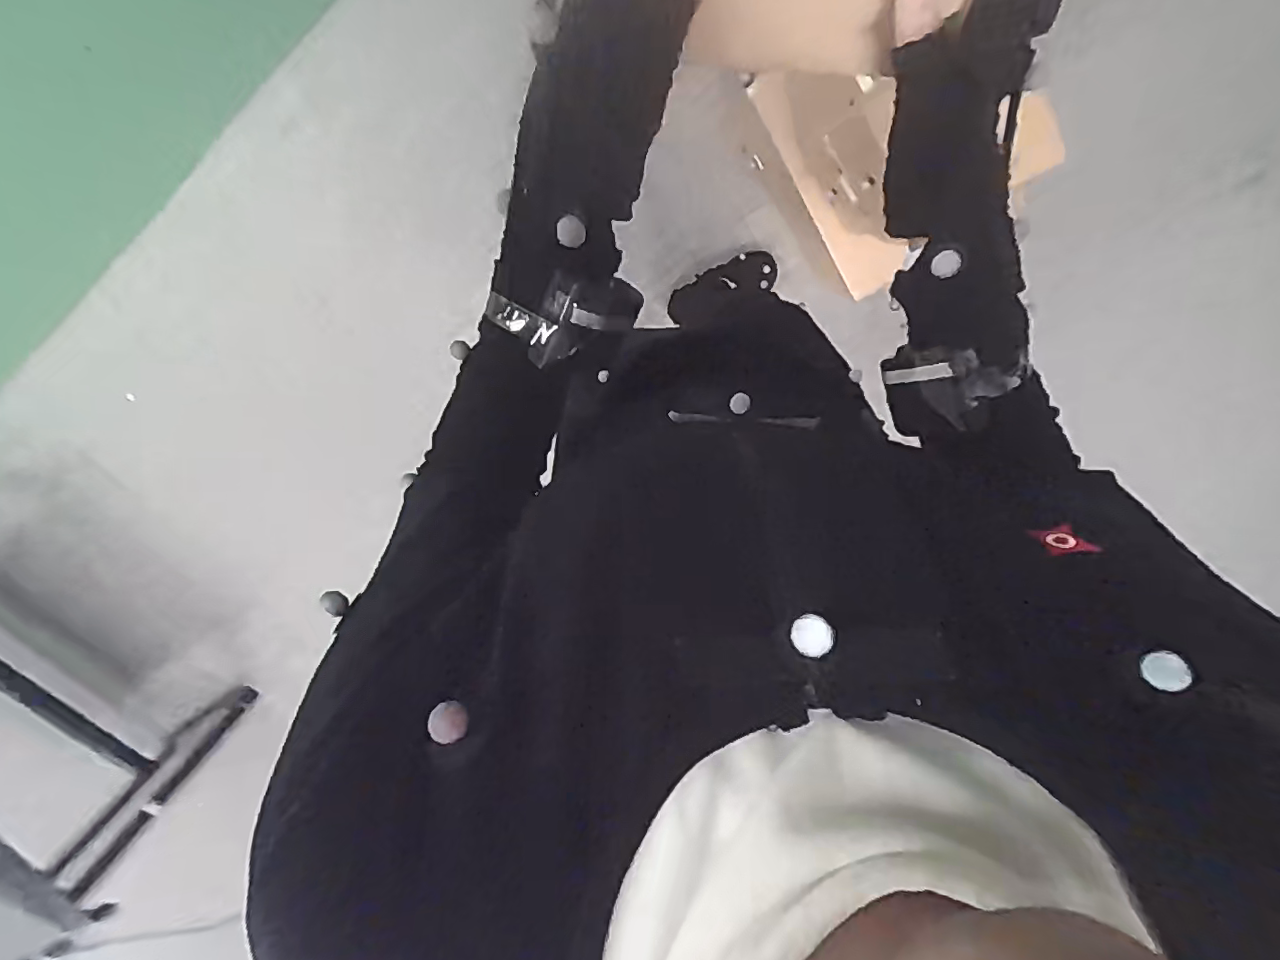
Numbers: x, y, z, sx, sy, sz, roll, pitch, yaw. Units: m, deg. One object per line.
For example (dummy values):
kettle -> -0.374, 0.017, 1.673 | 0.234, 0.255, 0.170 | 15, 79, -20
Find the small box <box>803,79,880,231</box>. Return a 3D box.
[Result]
small box -> 0.364, -0.506, 0.818 | 0.179, 0.176, 0.168 | -33, 110, 20

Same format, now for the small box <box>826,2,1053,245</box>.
small box -> 0.358, -0.424, 0.674 | 0.168, 0.176, 0.179 | -30, 110, 17
